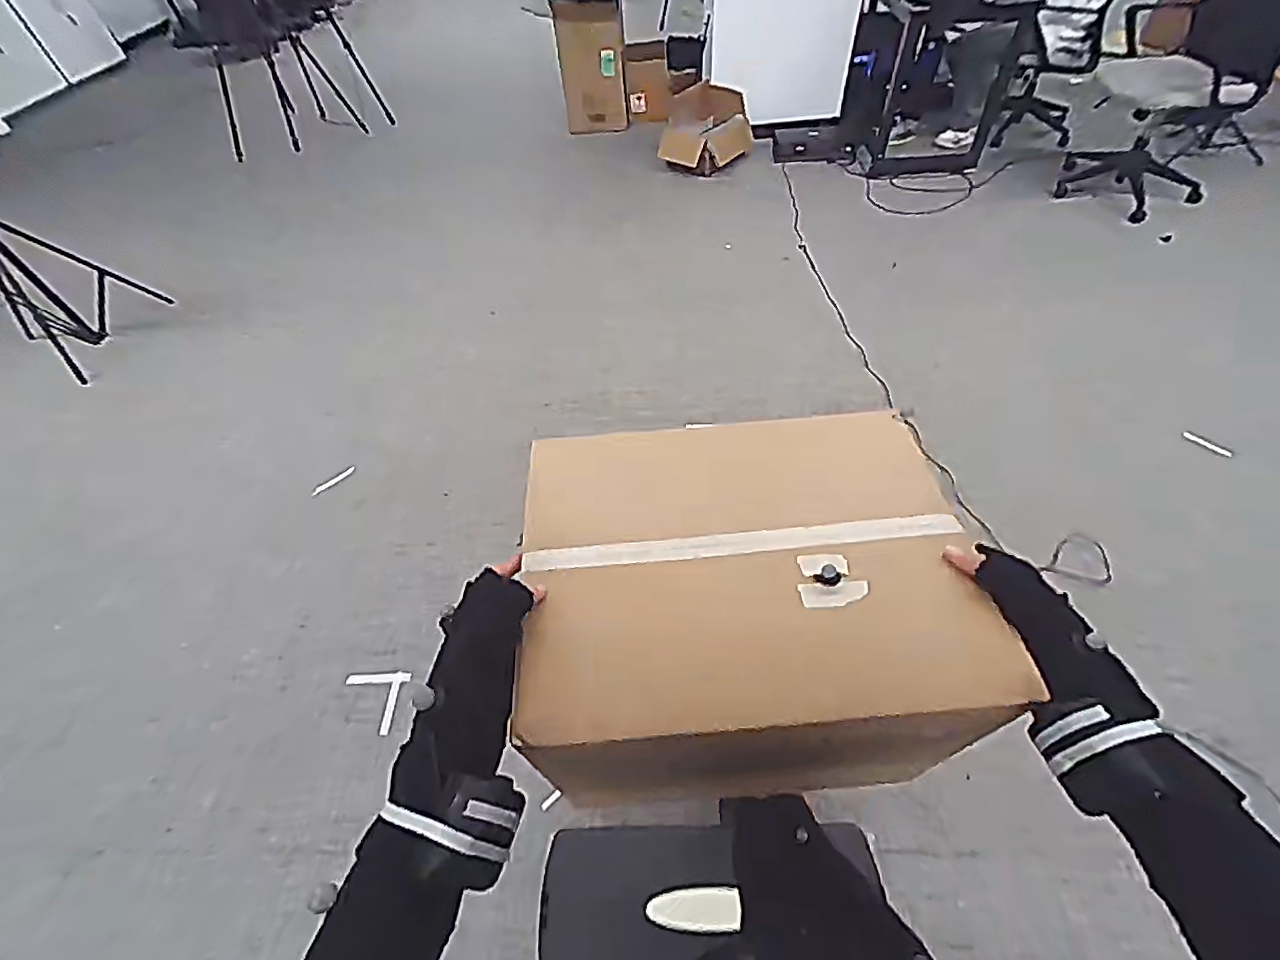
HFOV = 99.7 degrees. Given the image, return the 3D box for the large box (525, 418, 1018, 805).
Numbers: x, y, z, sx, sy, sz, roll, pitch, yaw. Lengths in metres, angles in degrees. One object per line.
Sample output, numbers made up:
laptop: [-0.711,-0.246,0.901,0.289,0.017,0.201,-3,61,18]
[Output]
large box: [0.100,0.159,0.632,0.408,0.320,0.320,-5,50,0]
